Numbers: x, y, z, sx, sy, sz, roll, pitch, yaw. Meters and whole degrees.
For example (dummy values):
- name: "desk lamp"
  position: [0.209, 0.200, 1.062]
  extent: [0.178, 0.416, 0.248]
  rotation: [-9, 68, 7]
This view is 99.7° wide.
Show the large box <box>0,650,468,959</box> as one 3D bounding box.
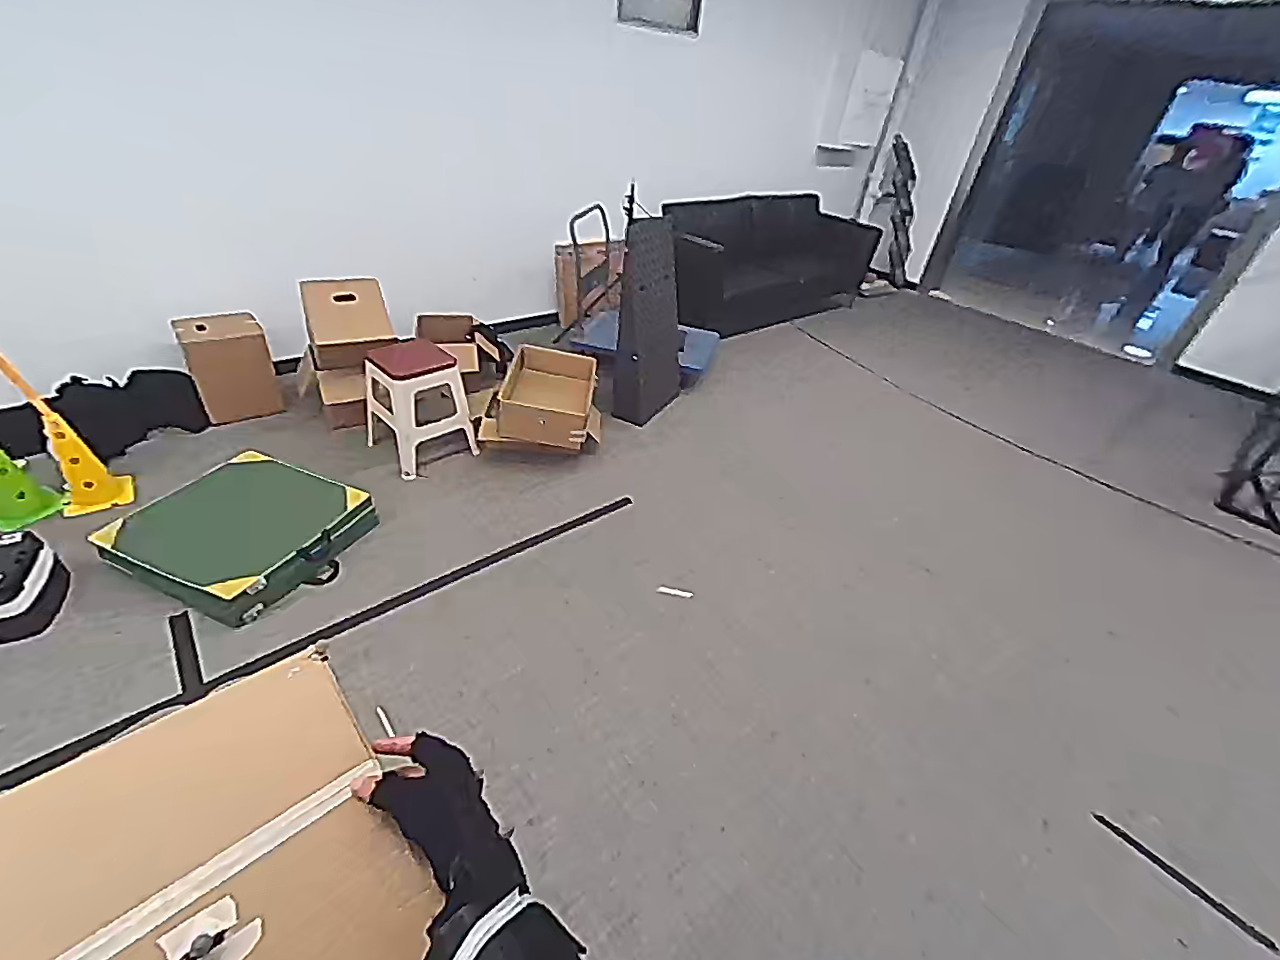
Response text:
- name: "large box"
  position: [-0.404, 0.440, 0.464]
  extent: [0.408, 0.320, 0.320]
  rotation: [-24, 53, -38]
